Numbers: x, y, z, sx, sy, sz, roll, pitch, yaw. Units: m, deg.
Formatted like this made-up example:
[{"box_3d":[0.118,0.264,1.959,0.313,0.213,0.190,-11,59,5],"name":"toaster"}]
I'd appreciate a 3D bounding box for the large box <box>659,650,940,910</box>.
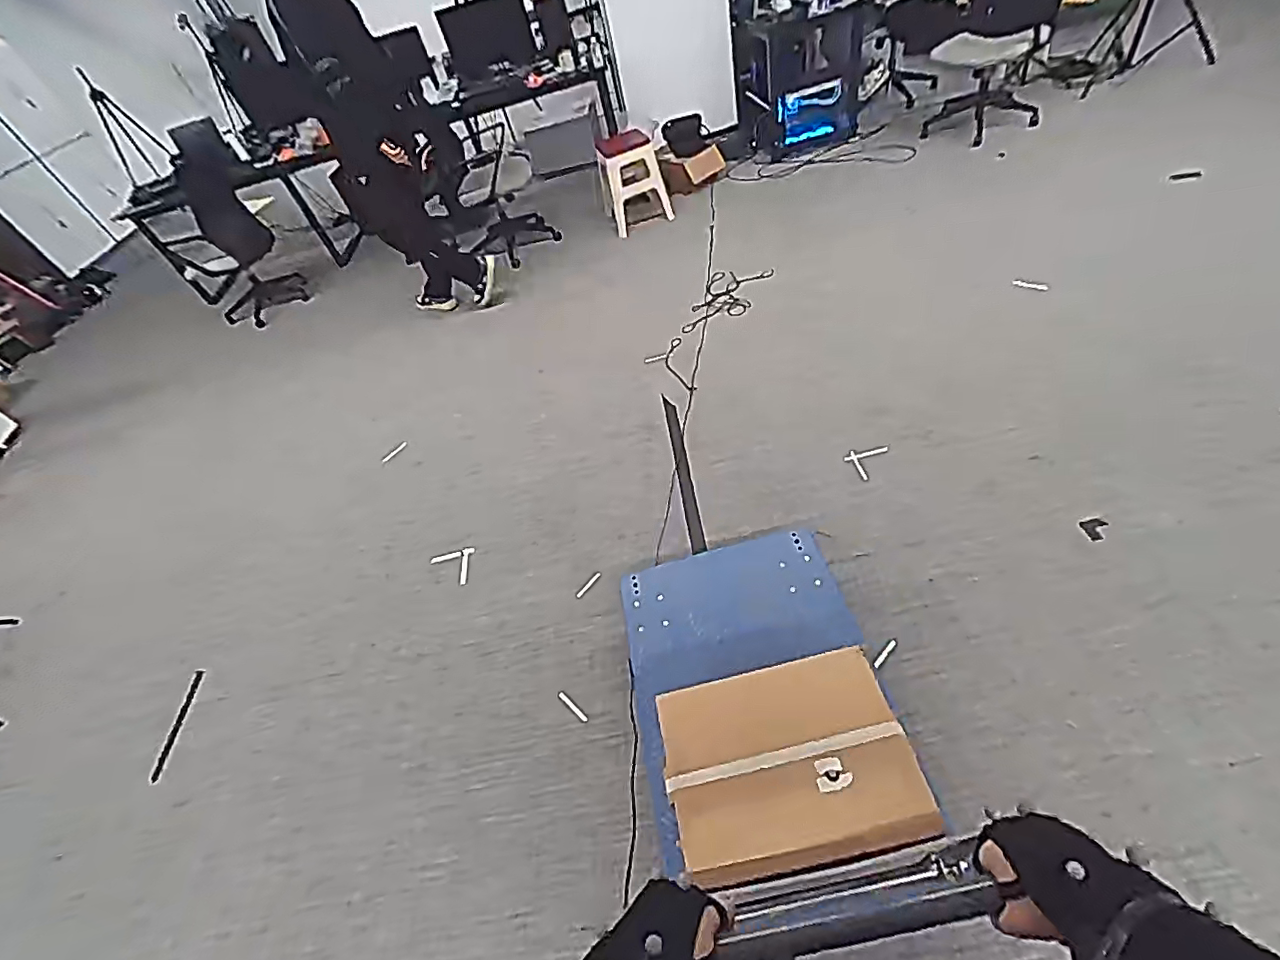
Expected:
[{"box_3d":[0.281,0.585,1.049,0.408,0.320,0.320,-15,47,2],"name":"large box"}]
